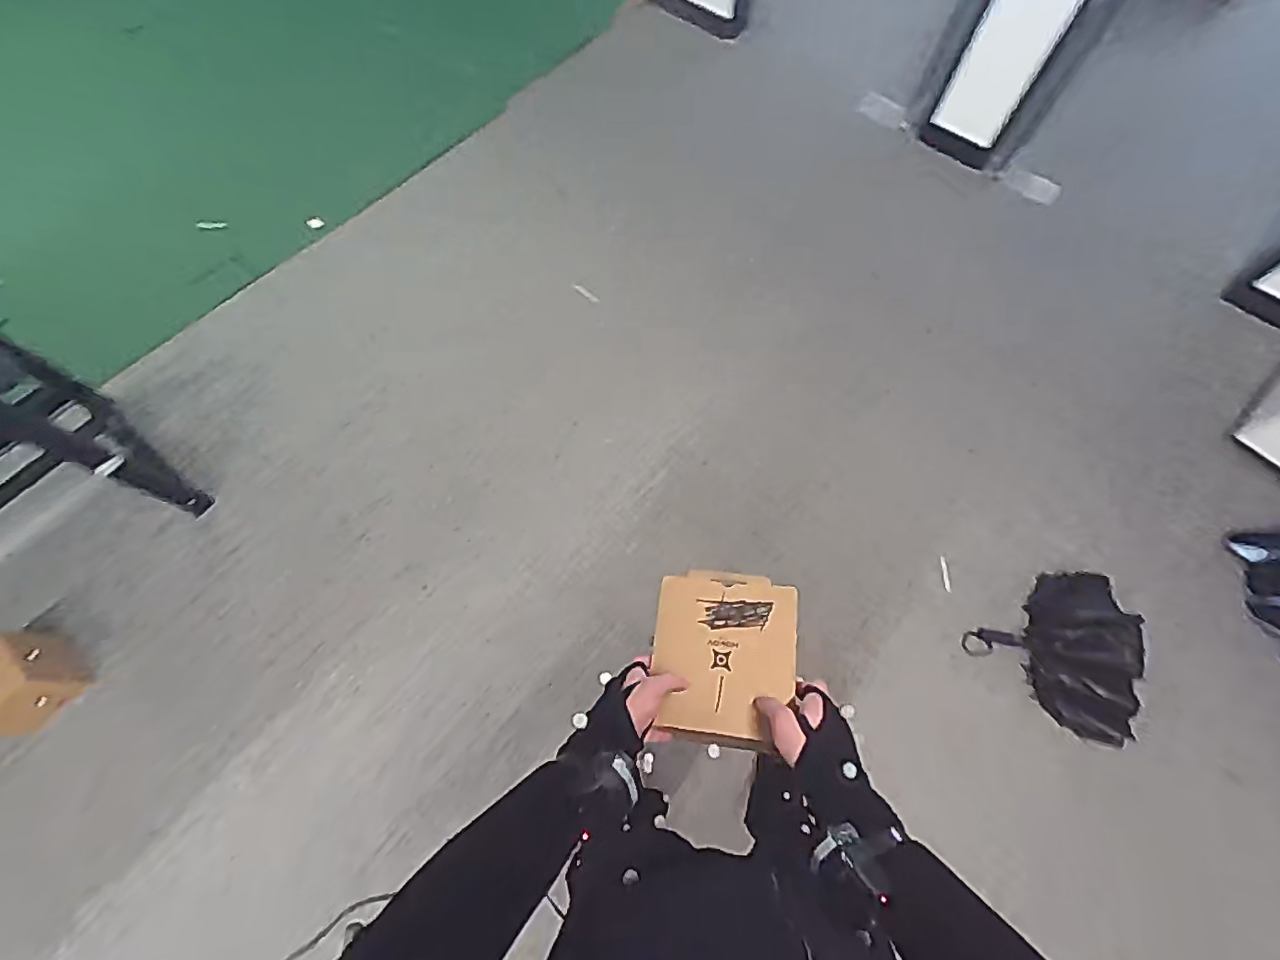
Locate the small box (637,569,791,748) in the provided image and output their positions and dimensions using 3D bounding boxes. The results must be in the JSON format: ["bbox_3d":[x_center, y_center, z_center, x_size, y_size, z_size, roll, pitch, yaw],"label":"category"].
[{"bbox_3d":[0.100,0.231,0.690,0.168,0.176,0.179,3,61,12],"label":"small box"}]

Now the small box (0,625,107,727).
[{"bbox_3d":[-1.493,0.486,1.335,0.179,0.176,0.168,41,72,17],"label":"small box"}]
